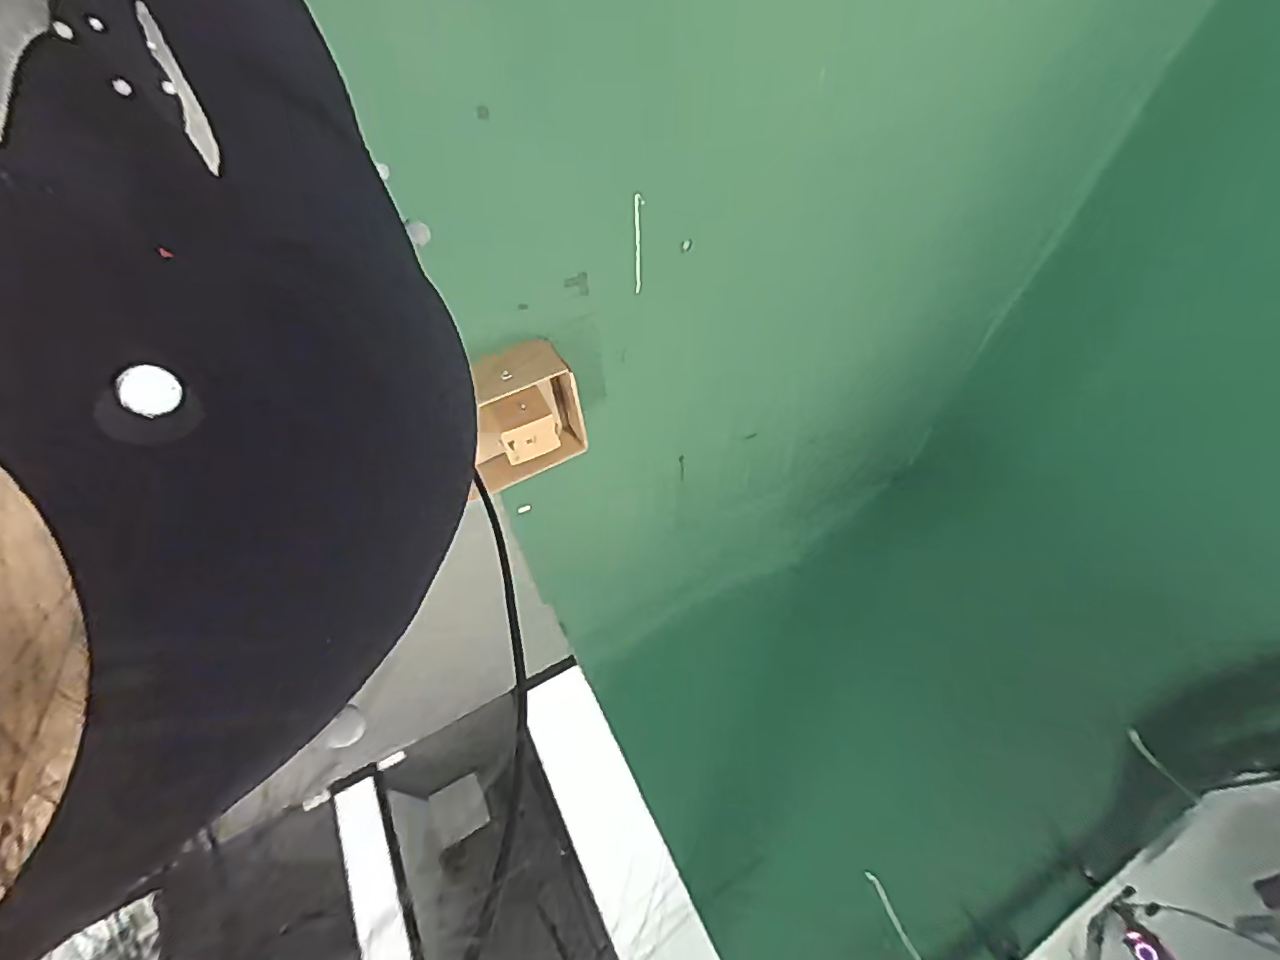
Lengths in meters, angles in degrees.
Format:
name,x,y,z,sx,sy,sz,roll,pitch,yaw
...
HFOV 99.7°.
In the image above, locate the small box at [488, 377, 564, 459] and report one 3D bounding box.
name,x,y,z,sx,sy,sz,roll,pitch,yaw
small box,-0.366,-0.205,1.749,0.179,0.176,0.168,-24,148,-14
